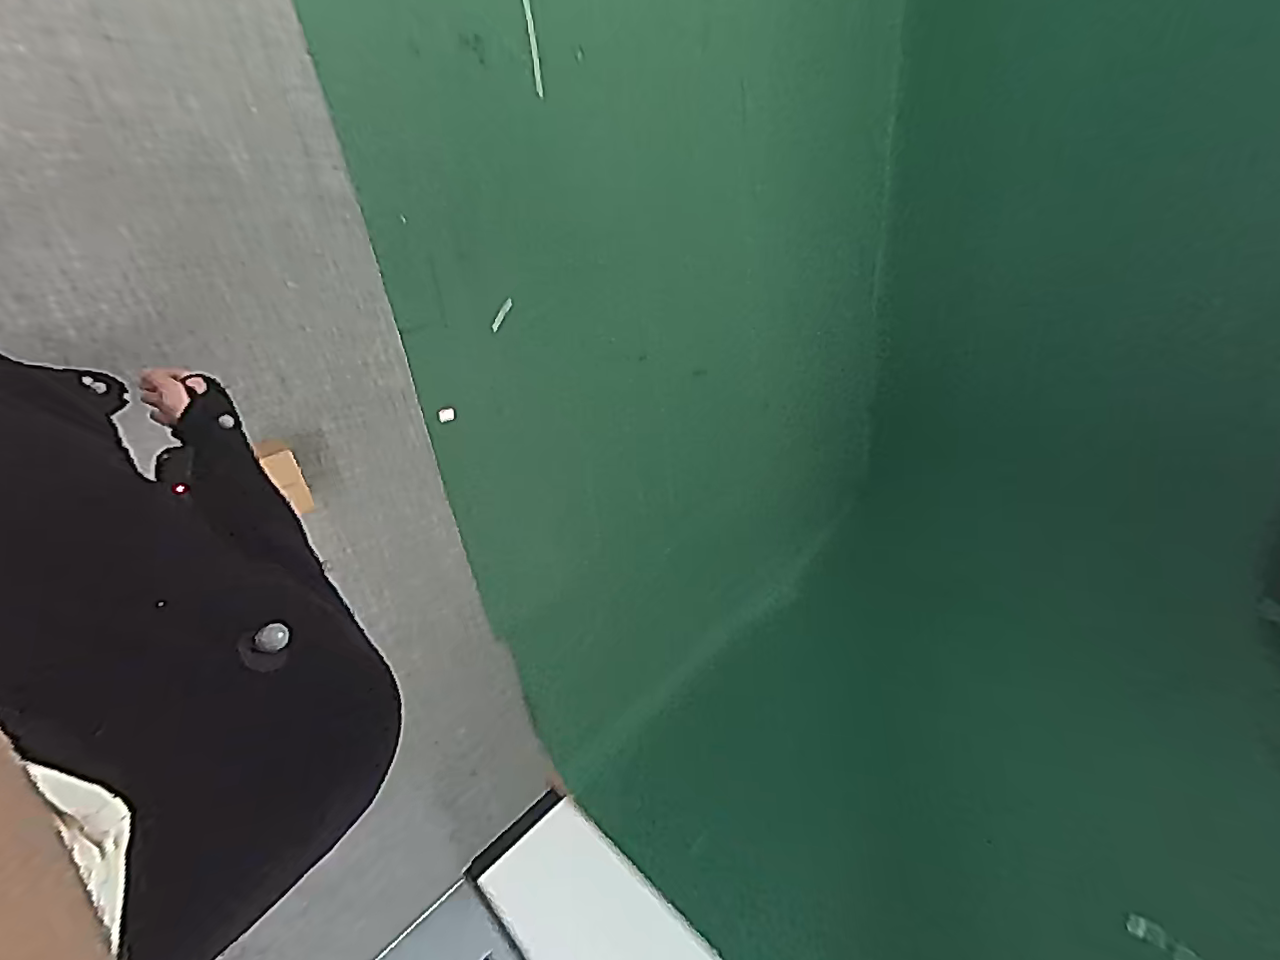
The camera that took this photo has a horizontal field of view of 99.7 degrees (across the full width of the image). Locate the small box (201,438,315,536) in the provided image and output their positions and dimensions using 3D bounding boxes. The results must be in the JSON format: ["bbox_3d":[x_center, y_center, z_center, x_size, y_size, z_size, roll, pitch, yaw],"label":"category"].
[{"bbox_3d":[-0.944,0.011,1.331,0.179,0.176,0.168,-29,124,-37],"label":"small box"}]
